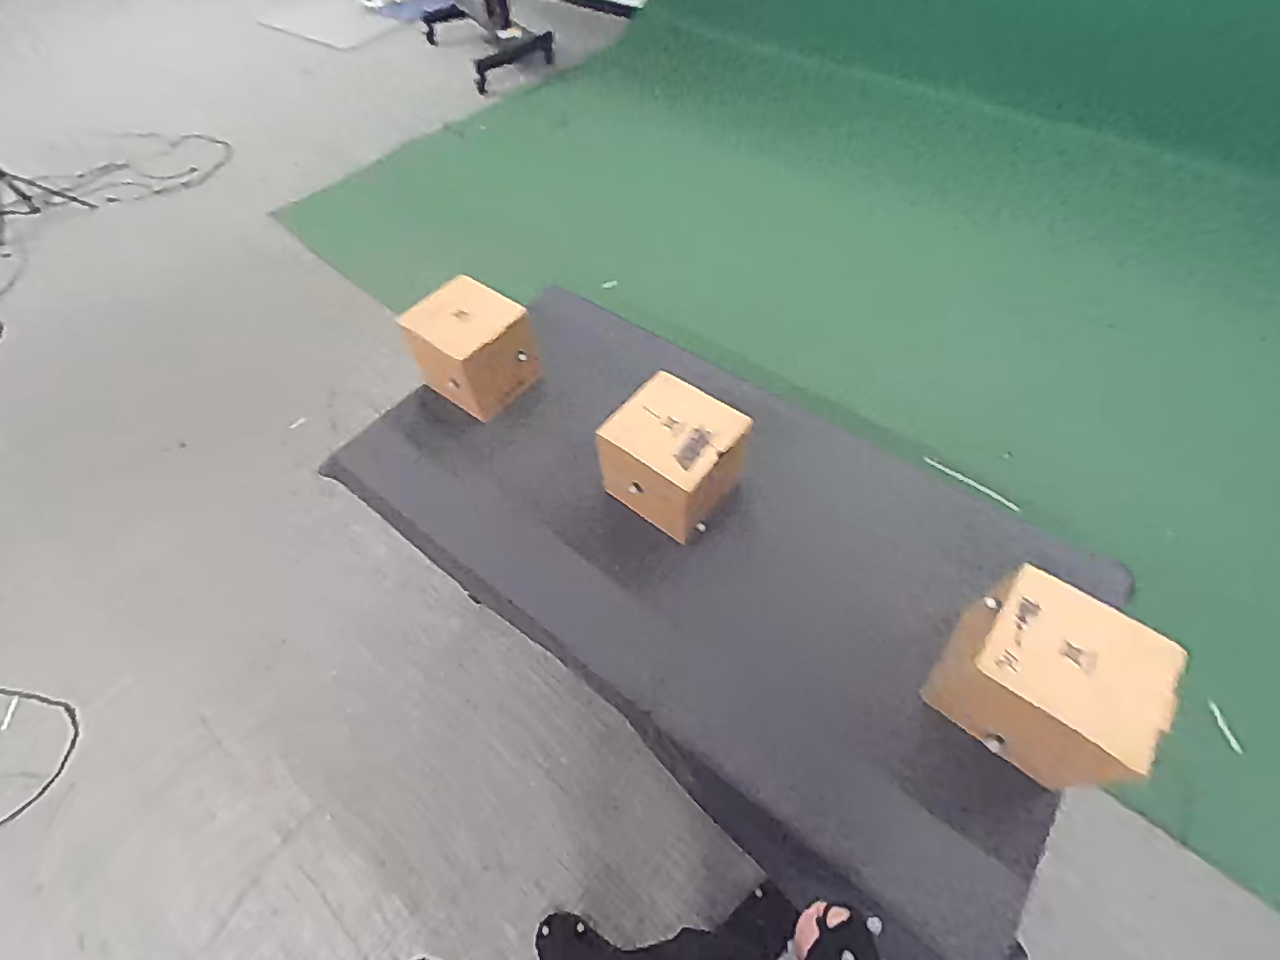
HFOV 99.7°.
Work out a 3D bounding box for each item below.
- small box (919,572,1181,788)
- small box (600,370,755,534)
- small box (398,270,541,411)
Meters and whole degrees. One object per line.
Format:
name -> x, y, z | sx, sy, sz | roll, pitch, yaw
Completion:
small box -> 0.494, 0.254, 0.676 | 0.179, 0.176, 0.168 | 36, 63, 21
small box -> 0.058, -0.036, 0.872 | 0.179, 0.176, 0.168 | 35, 63, 22
small box -> -0.309, -0.256, 1.020 | 0.179, 0.176, 0.168 | 32, 61, 21
